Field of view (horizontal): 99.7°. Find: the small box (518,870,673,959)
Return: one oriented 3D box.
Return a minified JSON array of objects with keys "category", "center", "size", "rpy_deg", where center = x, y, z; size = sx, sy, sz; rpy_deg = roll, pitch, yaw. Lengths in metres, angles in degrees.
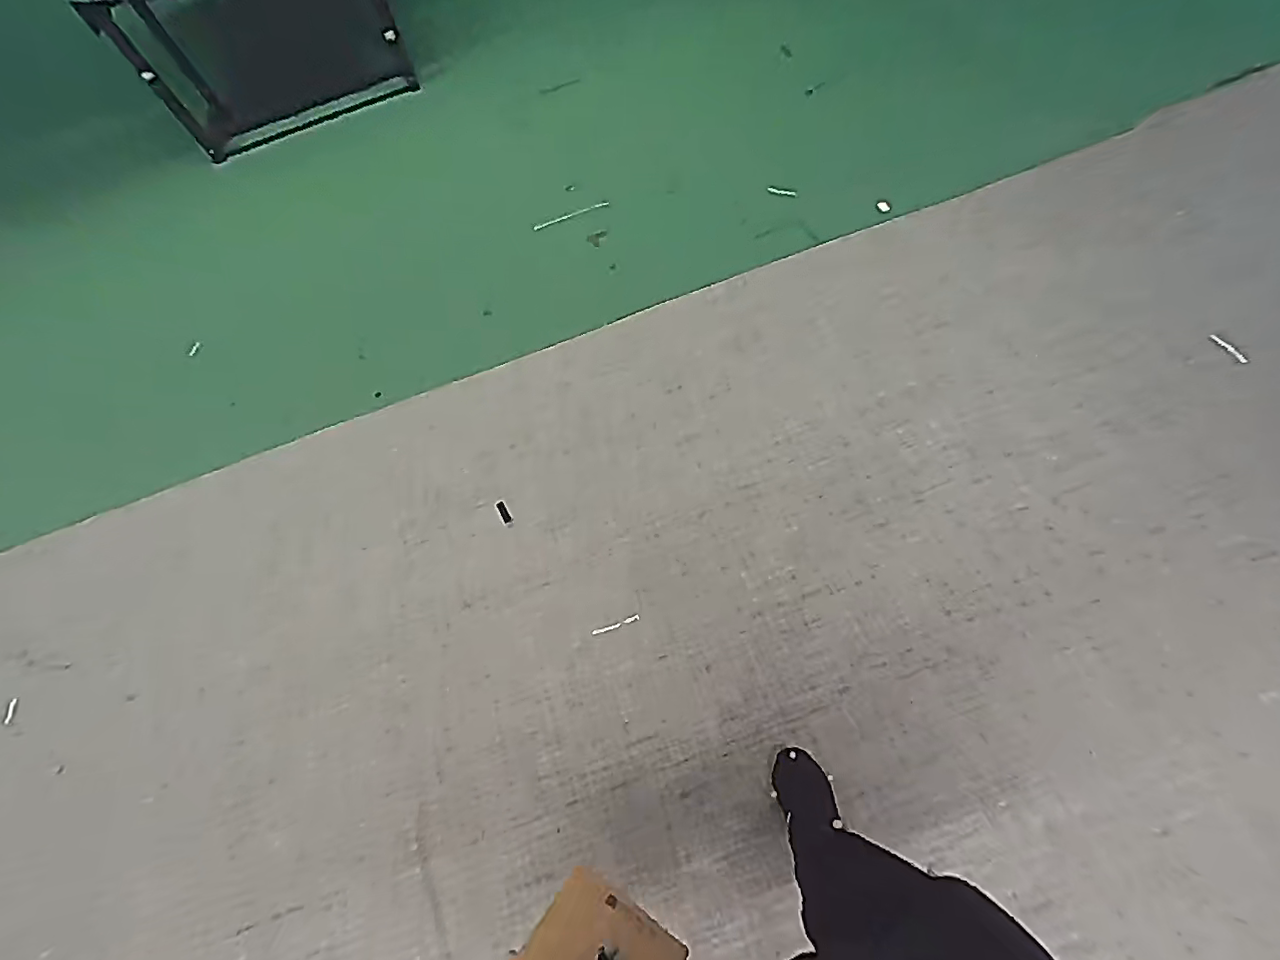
[{"category":"small box","center":[-0.075,0.604,0.610],"size":[0.168,0.176,0.179],"rpy_deg":[28,102,14]}]
